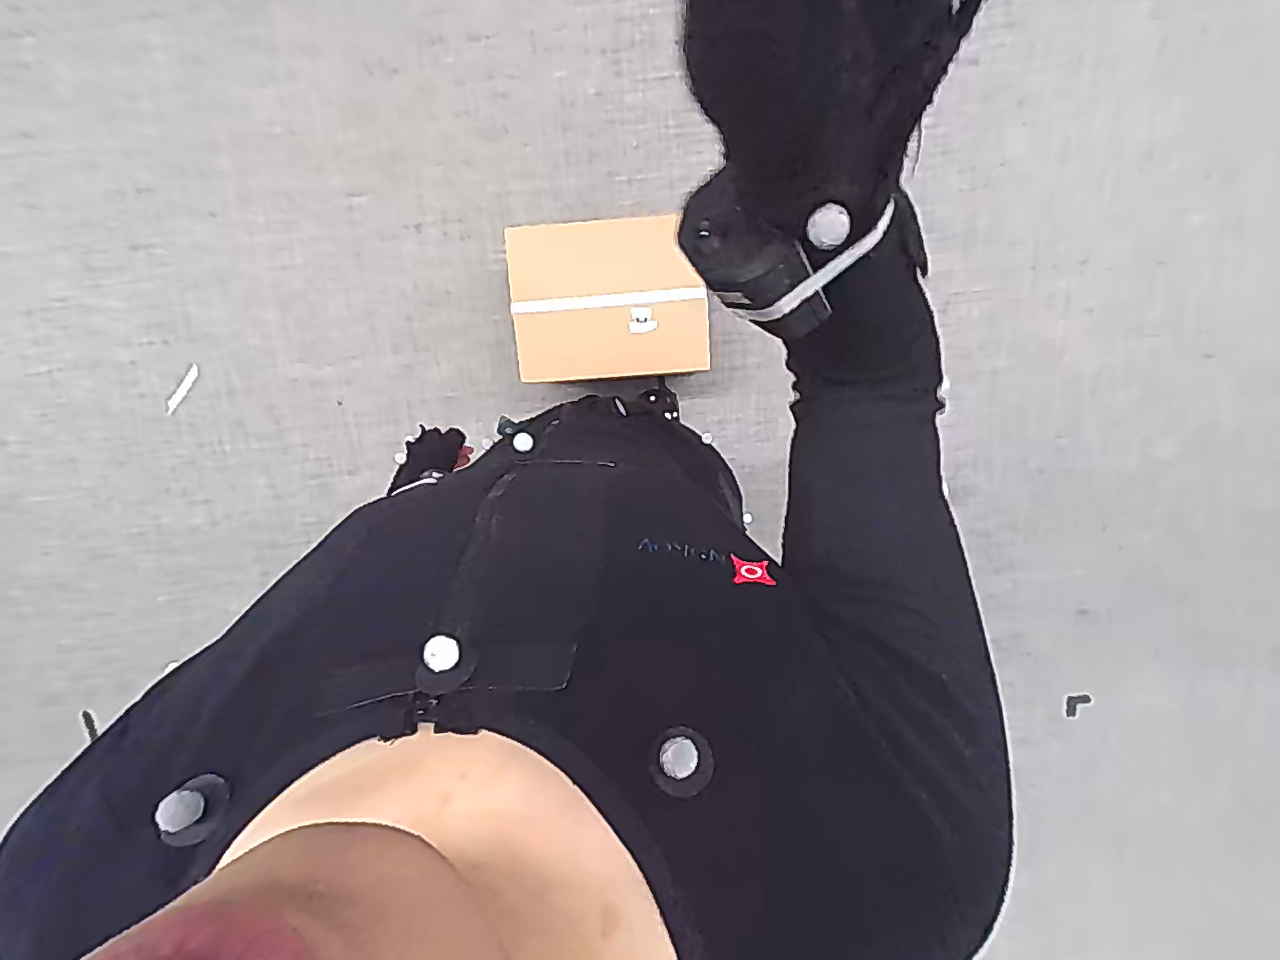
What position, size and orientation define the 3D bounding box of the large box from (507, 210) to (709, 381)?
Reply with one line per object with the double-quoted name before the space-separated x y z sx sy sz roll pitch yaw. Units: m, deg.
"large box" -0.064 -0.407 1.272 0.408 0.320 0.320 -4 101 1
